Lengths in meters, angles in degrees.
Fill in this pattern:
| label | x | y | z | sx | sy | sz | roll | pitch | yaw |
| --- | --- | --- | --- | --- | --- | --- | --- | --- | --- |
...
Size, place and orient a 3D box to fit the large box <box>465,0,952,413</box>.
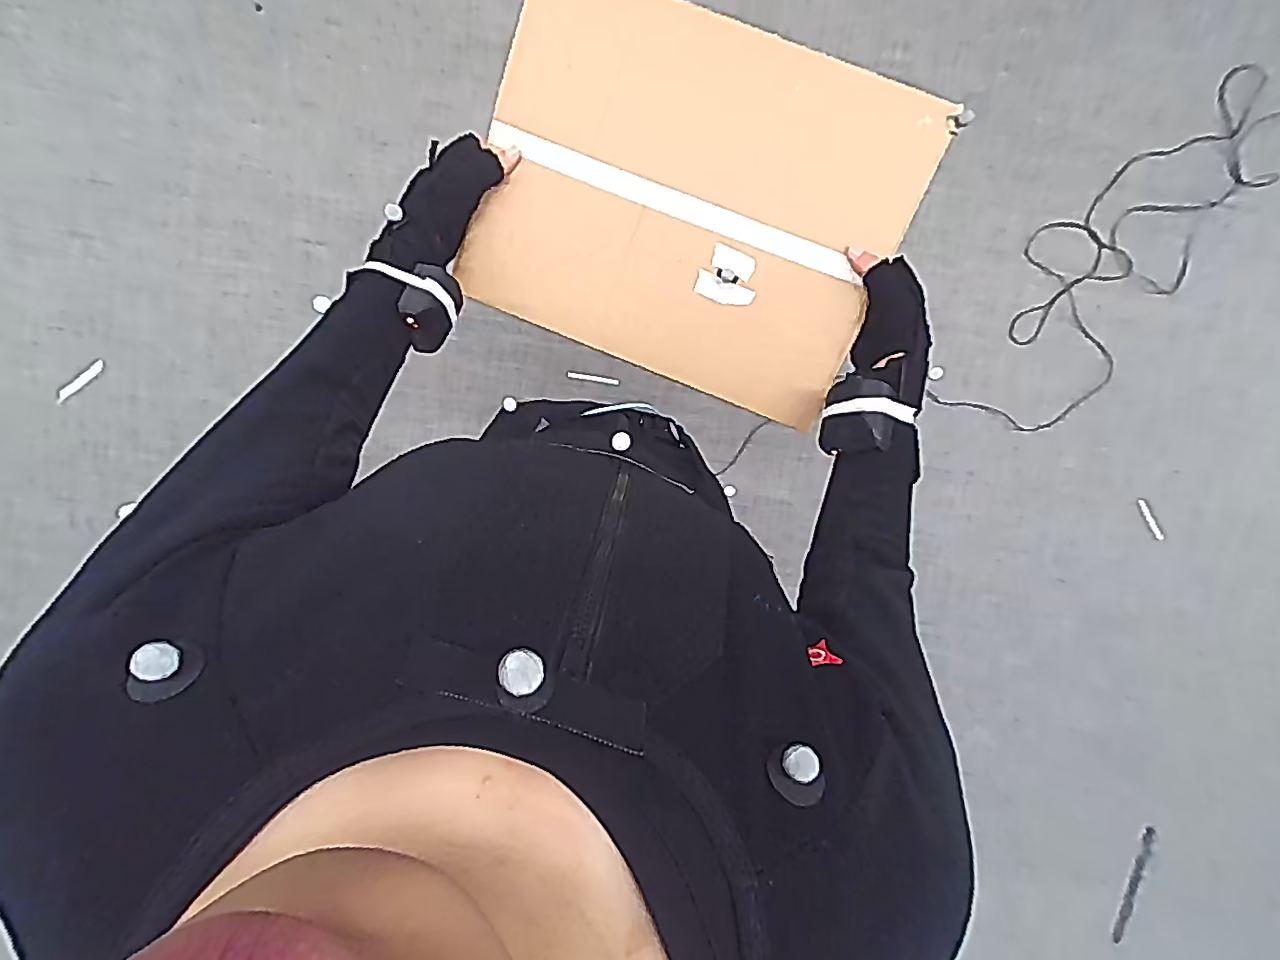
| label | x | y | z | sx | sy | sz | roll | pitch | yaw |
| --- | --- | --- | --- | --- | --- | --- | --- | --- | --- |
| large box | 0.062 | -0.310 | 0.674 | 0.408 | 0.320 | 0.320 | 22 | 106 | 1 |
